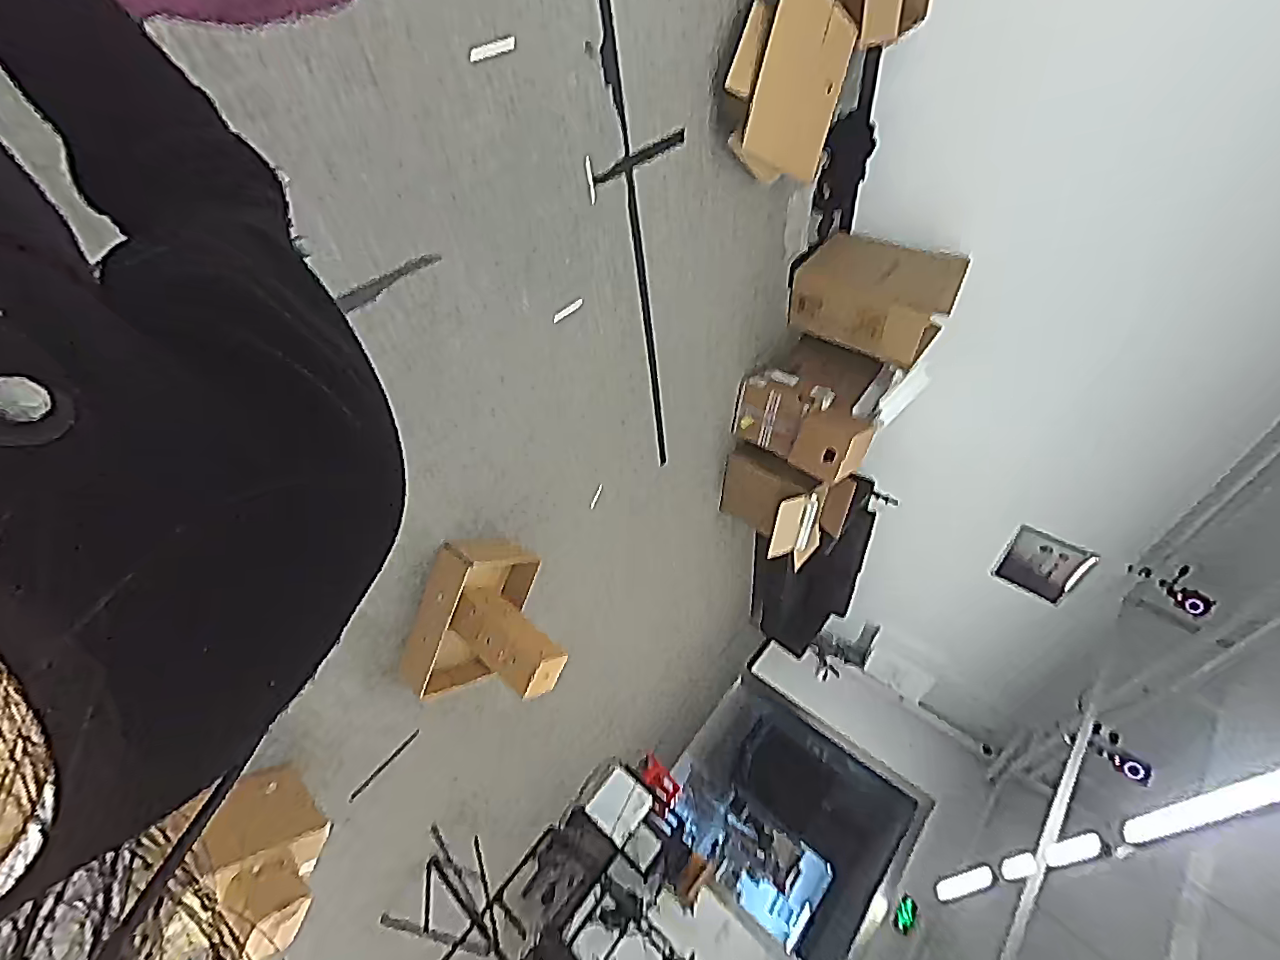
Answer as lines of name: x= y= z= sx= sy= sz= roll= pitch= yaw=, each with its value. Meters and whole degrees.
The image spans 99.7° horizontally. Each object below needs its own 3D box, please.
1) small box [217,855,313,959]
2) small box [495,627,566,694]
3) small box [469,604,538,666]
small box: x=-1.138 y=1.284 z=1.635 sx=0.168 sy=0.176 sz=0.179 roll=15 pitch=103 yaw=-59
small box: x=-0.424 y=0.689 z=2.088 sx=0.179 sy=0.176 sz=0.168 roll=11 pitch=107 yaw=-60
small box: x=-0.549 y=0.611 z=2.159 sx=0.179 sy=0.176 sz=0.168 roll=13 pitch=105 yaw=-60
